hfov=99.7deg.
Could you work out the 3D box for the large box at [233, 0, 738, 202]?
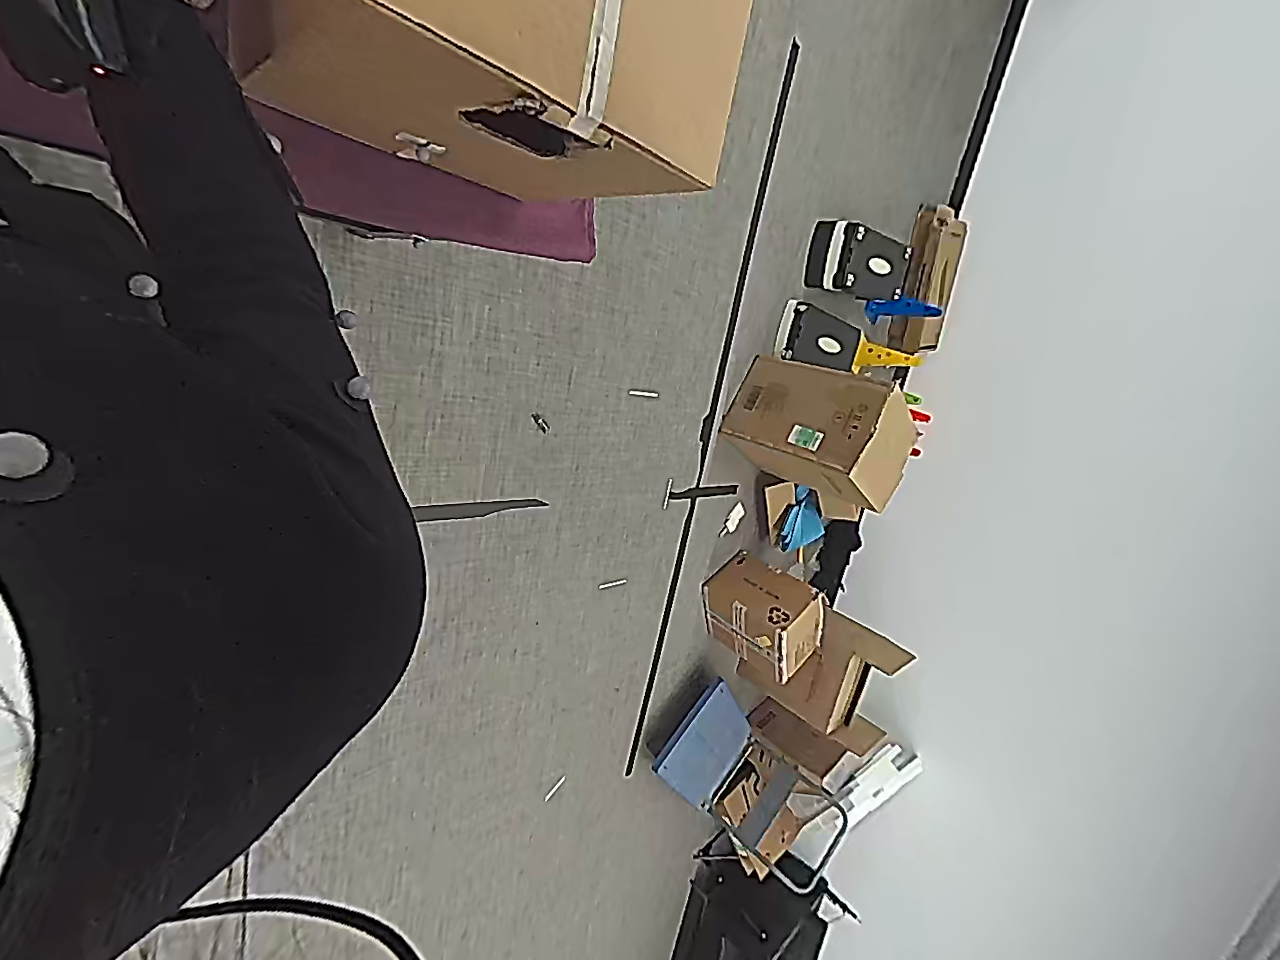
[{"bbox_3d":[-0.118,-0.487,0.437,0.320,0.320,0.408,-4,110,-47],"label":"large box"}]
